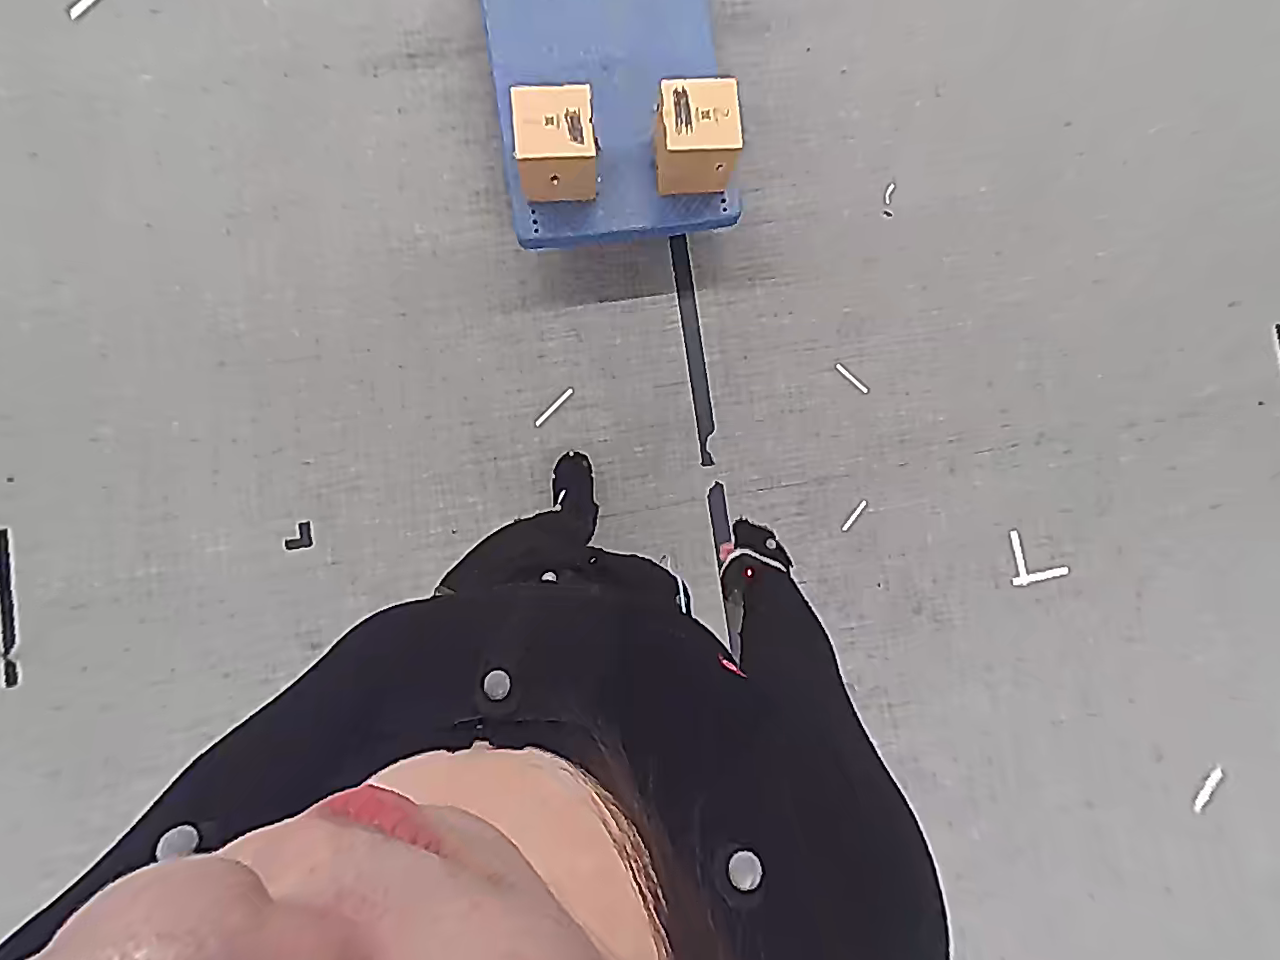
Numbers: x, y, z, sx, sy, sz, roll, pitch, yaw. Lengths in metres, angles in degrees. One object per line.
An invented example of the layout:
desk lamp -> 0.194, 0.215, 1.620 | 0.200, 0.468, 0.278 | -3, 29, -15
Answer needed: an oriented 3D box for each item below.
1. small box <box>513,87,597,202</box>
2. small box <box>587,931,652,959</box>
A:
small box -> -0.193, -0.775, 1.262 | 0.179, 0.176, 0.168 | -4, 87, -4
small box -> -0.051, 1.285, 1.364 | 0.168, 0.176, 0.179 | -2, 88, -3
